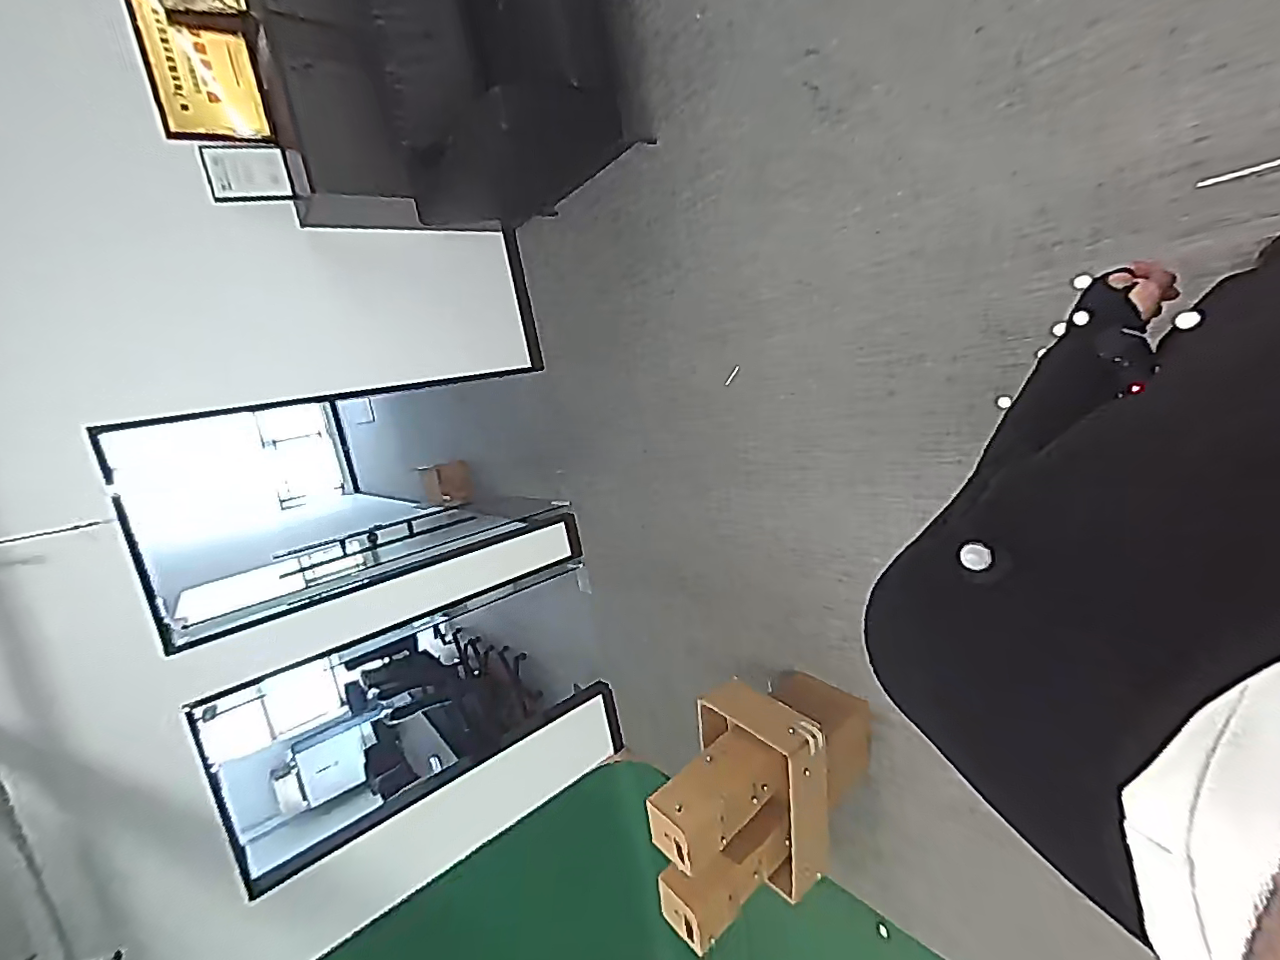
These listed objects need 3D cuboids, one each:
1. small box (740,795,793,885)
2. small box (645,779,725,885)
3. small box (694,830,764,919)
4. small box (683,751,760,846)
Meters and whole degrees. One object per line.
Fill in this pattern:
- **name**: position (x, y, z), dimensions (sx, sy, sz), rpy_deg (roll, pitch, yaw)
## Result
- **small box**: position (0.419, 1.254, 1.904), dimensions (0.179, 0.176, 0.168), rpy_deg (13, 115, 50)
- **small box**: position (0.141, 1.048, 1.632), dimensions (0.179, 0.176, 0.168), rpy_deg (9, 112, 50)
- **small box**: position (0.294, 1.293, 1.810), dimensions (0.179, 0.176, 0.168), rpy_deg (13, 113, 48)
- **small box**: position (0.263, 1.007, 1.734), dimensions (0.179, 0.176, 0.168), rpy_deg (9, 112, 49)
